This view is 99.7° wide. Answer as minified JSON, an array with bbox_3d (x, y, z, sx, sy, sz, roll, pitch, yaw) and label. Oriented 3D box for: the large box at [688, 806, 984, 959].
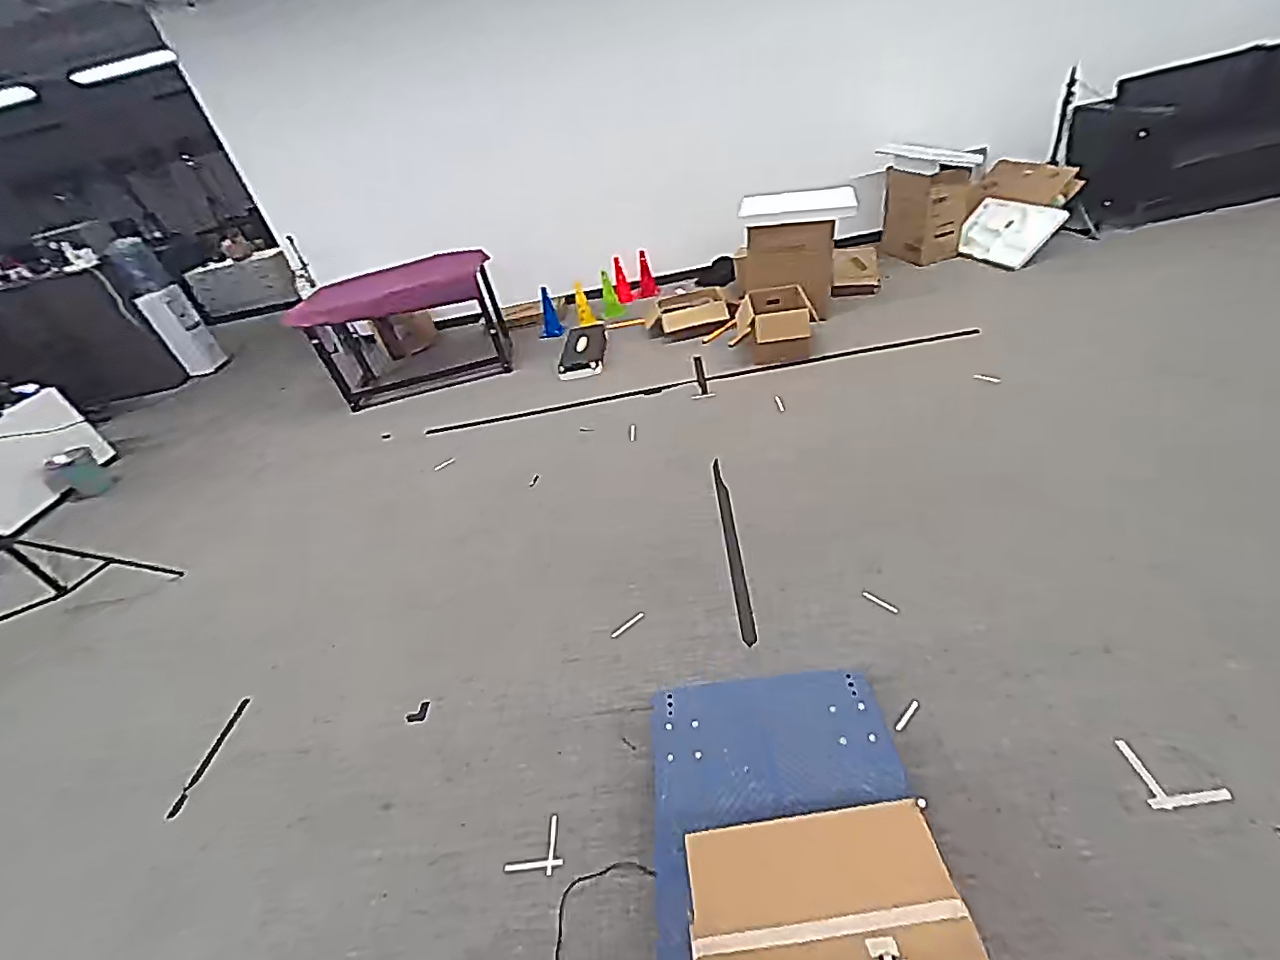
[{"bbox_3d":[0.314,0.804,0.900,0.408,0.320,0.320,-10,37,2],"label":"large box"}]
